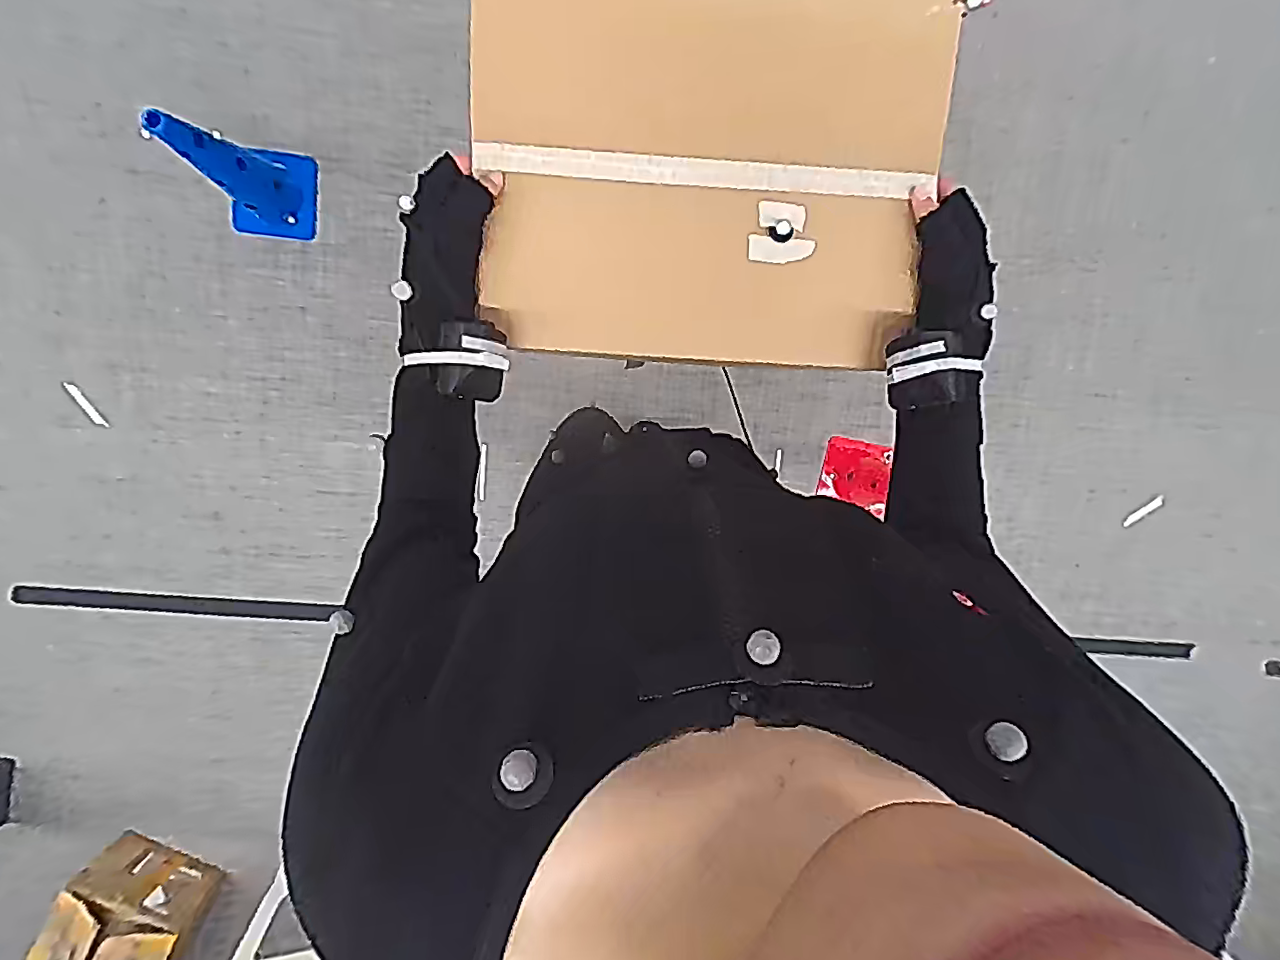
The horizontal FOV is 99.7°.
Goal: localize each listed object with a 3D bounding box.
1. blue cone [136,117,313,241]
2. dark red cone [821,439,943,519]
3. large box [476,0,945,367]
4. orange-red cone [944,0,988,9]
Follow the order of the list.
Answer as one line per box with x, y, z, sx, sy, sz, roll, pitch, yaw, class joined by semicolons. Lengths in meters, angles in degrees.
-0.905;-0.676;1.179;0.192;0.380;0.193;8;97;-3;blue cone
0.607;0.022;1.308;0.201;0.394;0.202;10;97;-3;dark red cone
0.049;-0.296;0.624;0.408;0.320;0.320;2;102;-4;large box
0.787;-1.257;1.162;0.198;0.360;0.199;2;96;-4;orange-red cone
